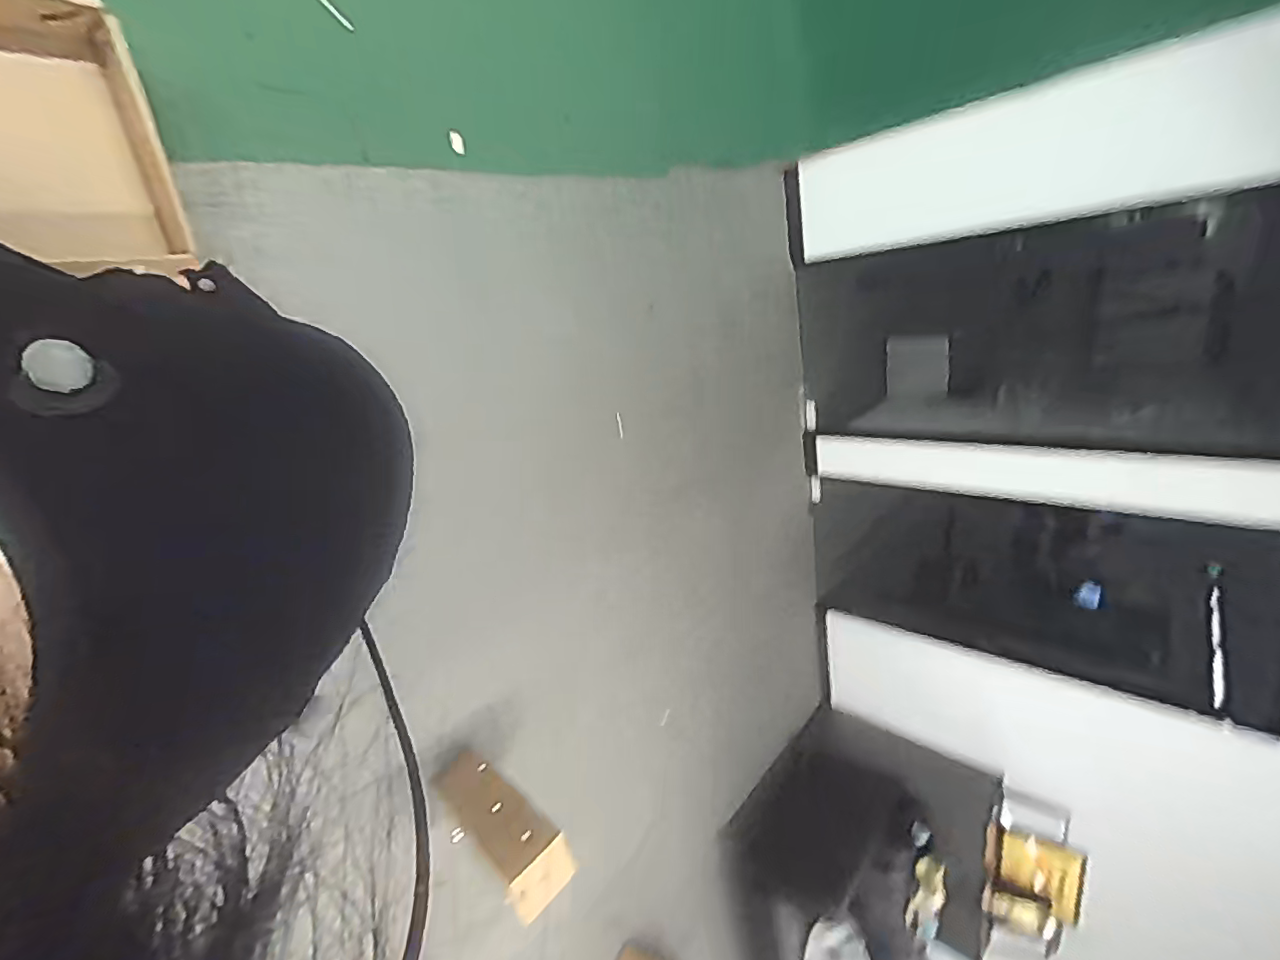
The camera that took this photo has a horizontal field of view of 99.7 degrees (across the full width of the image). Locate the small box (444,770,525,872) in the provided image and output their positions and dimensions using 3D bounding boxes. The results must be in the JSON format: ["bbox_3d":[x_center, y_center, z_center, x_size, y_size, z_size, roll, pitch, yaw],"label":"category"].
[{"bbox_3d":[-0.444,1.007,1.599,0.179,0.176,0.168,-30,117,-39],"label":"small box"}]

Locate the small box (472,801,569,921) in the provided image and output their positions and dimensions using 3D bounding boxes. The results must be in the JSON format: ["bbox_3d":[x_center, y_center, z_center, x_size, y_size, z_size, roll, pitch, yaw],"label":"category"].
[{"bbox_3d":[-0.328,1.035,1.487,0.179,0.176,0.168,-31,117,-41],"label":"small box"}]
